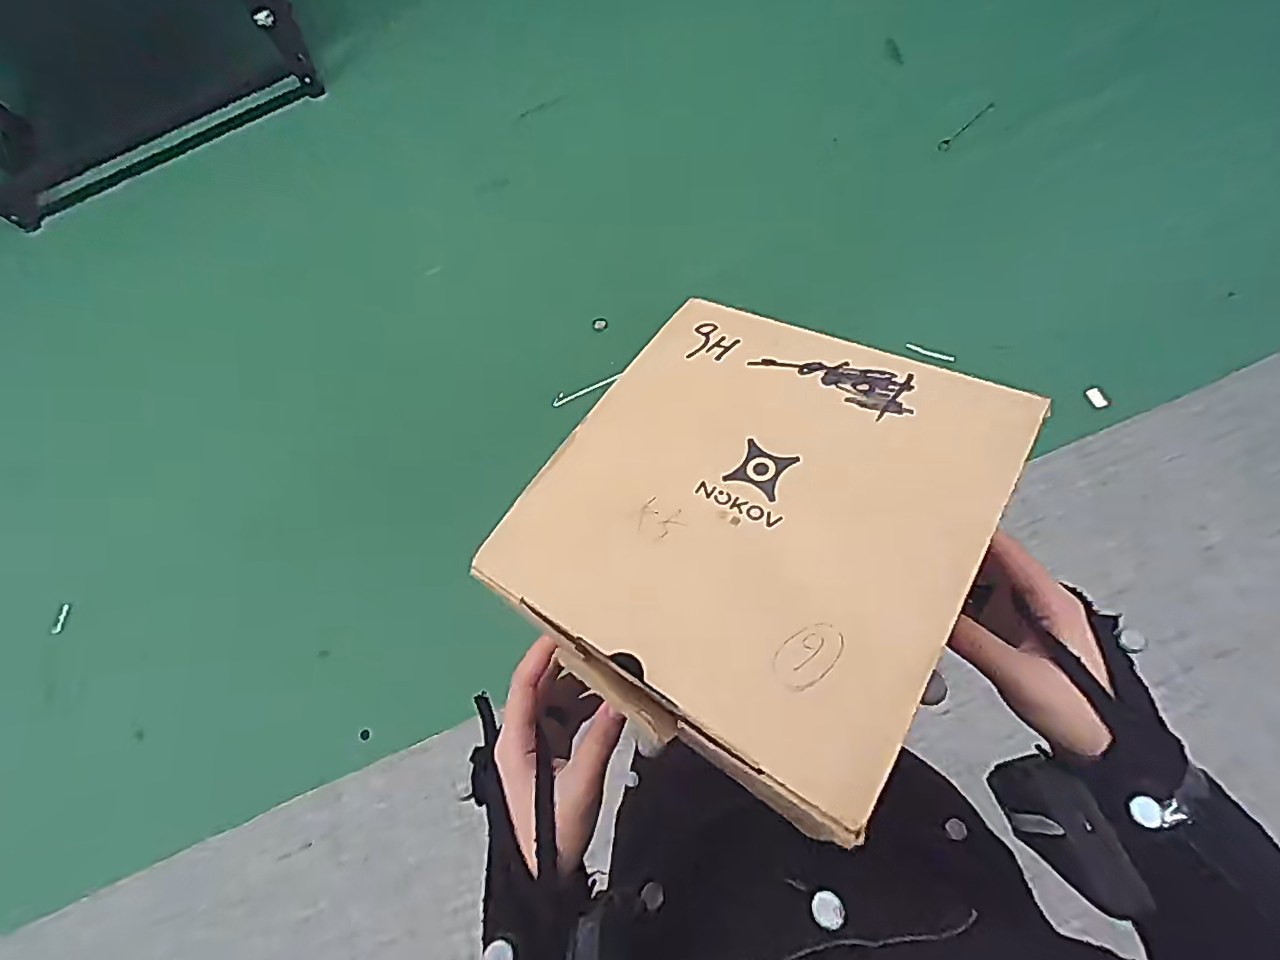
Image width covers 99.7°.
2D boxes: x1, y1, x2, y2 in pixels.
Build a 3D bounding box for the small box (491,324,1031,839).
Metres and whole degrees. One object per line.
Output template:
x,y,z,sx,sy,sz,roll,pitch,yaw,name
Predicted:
0.063,0.054,0.291,0.168,0.176,0.179,27,68,27,small box
